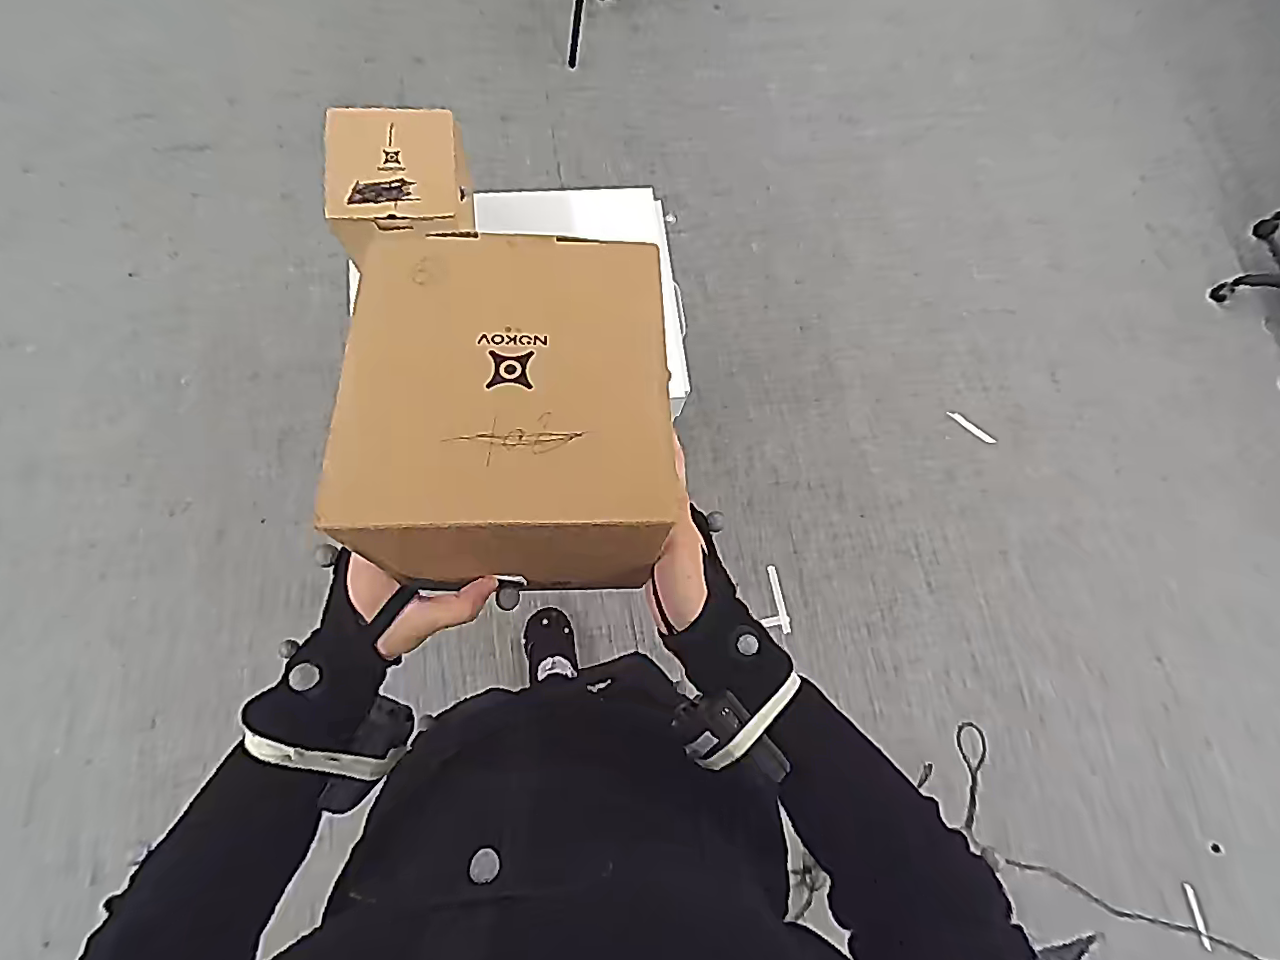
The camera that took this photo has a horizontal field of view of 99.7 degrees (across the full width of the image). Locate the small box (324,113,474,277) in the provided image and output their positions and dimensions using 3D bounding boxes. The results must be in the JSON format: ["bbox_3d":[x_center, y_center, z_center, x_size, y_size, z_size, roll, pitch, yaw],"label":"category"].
[{"bbox_3d":[-0.341,-0.398,0.796,0.168,0.176,0.179,-5,77,-8],"label":"small box"}]

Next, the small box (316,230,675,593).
[{"bbox_3d":[-0.074,-0.029,0.353,0.168,0.176,0.179,0,68,-6],"label":"small box"}]
